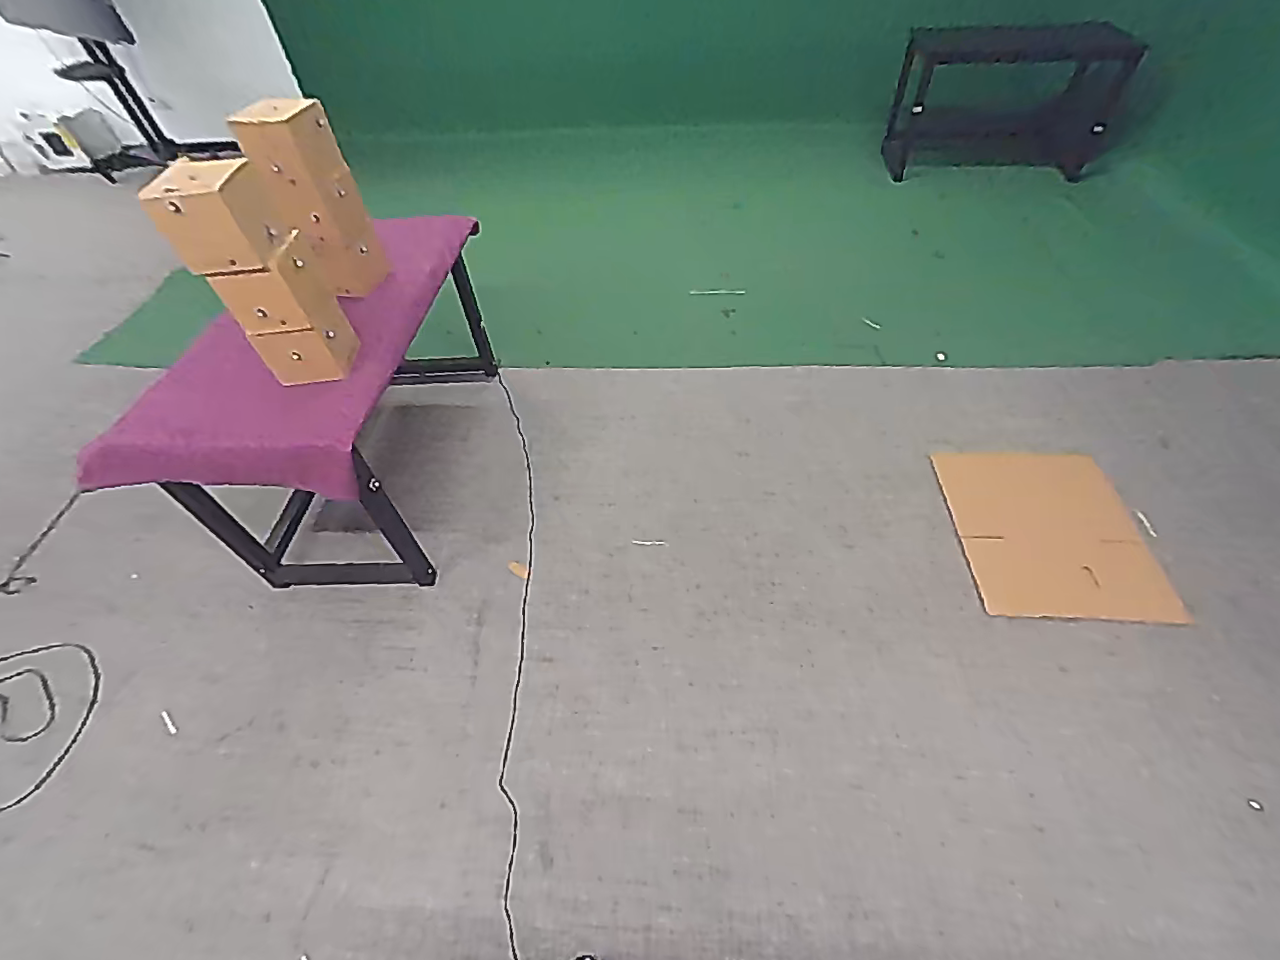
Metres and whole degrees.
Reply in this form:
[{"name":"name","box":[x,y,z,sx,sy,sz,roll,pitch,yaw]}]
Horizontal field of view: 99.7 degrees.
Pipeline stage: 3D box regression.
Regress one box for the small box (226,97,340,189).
[{"name":"small box","box":[-0.954,-0.916,1.468,0.168,0.176,0.179,4,51,7]}]

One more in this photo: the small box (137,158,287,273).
[{"name":"small box","box":[-0.919,-0.579,1.187,0.168,0.176,0.179,-6,50,1]}]

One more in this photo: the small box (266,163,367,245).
[{"name":"small box","box":[-0.943,-0.812,1.596,0.168,0.176,0.179,5,51,7]}]

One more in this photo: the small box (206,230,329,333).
[{"name":"small box","box":[-0.894,-0.483,1.318,0.168,0.176,0.179,-6,51,0]}]

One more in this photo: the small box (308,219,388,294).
[{"name":"small box","box":[-0.938,-0.710,1.722,0.168,0.176,0.179,5,50,8]}]
